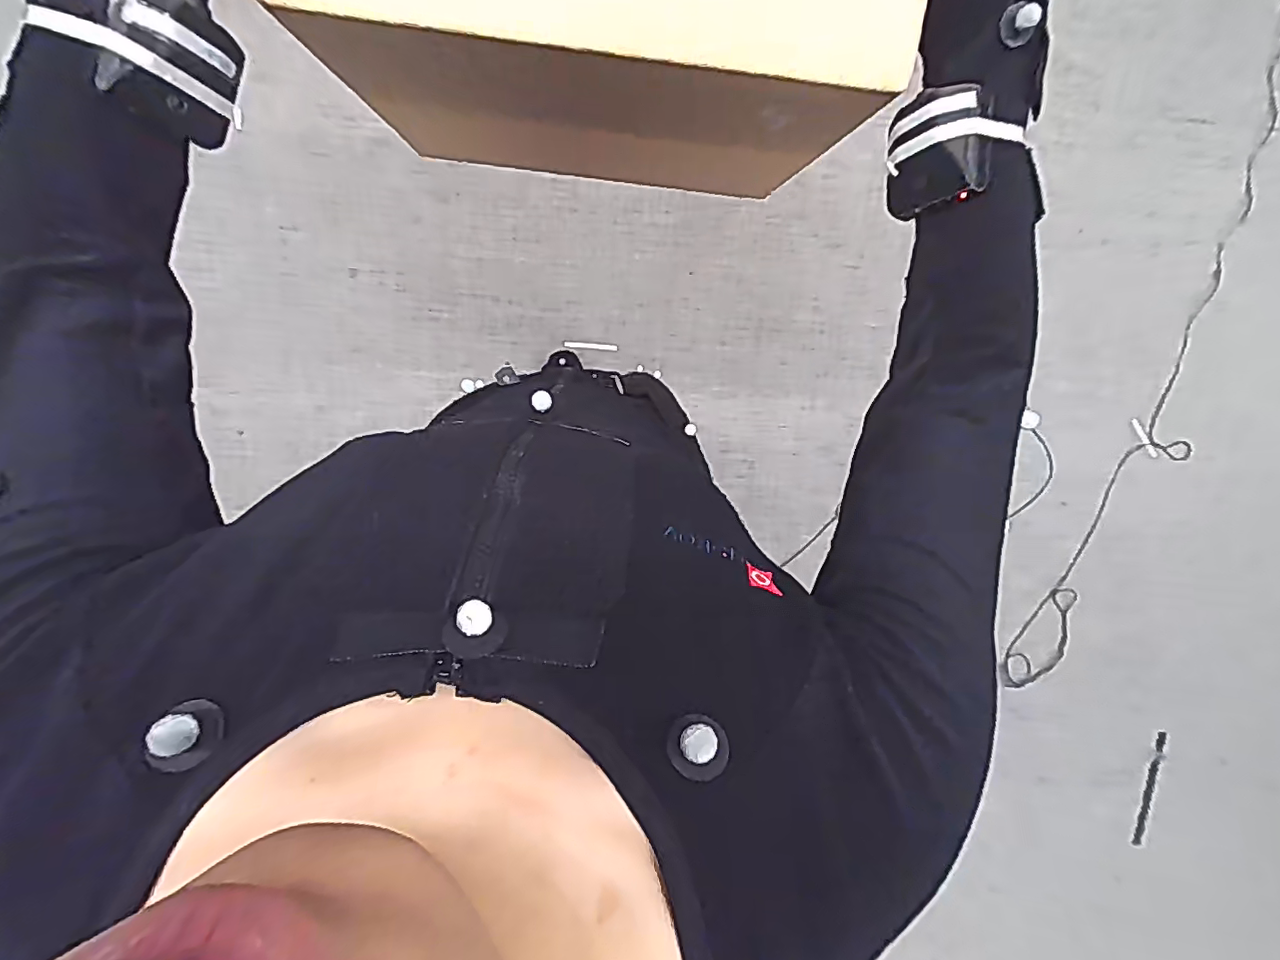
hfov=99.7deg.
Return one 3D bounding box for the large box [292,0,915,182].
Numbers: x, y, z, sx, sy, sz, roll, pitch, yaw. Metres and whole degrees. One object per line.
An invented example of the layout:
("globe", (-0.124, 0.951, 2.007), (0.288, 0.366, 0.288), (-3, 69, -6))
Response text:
("large box", (-0.024, -0.467, 0.445), (0.408, 0.320, 0.320), (3, 107, -6))
